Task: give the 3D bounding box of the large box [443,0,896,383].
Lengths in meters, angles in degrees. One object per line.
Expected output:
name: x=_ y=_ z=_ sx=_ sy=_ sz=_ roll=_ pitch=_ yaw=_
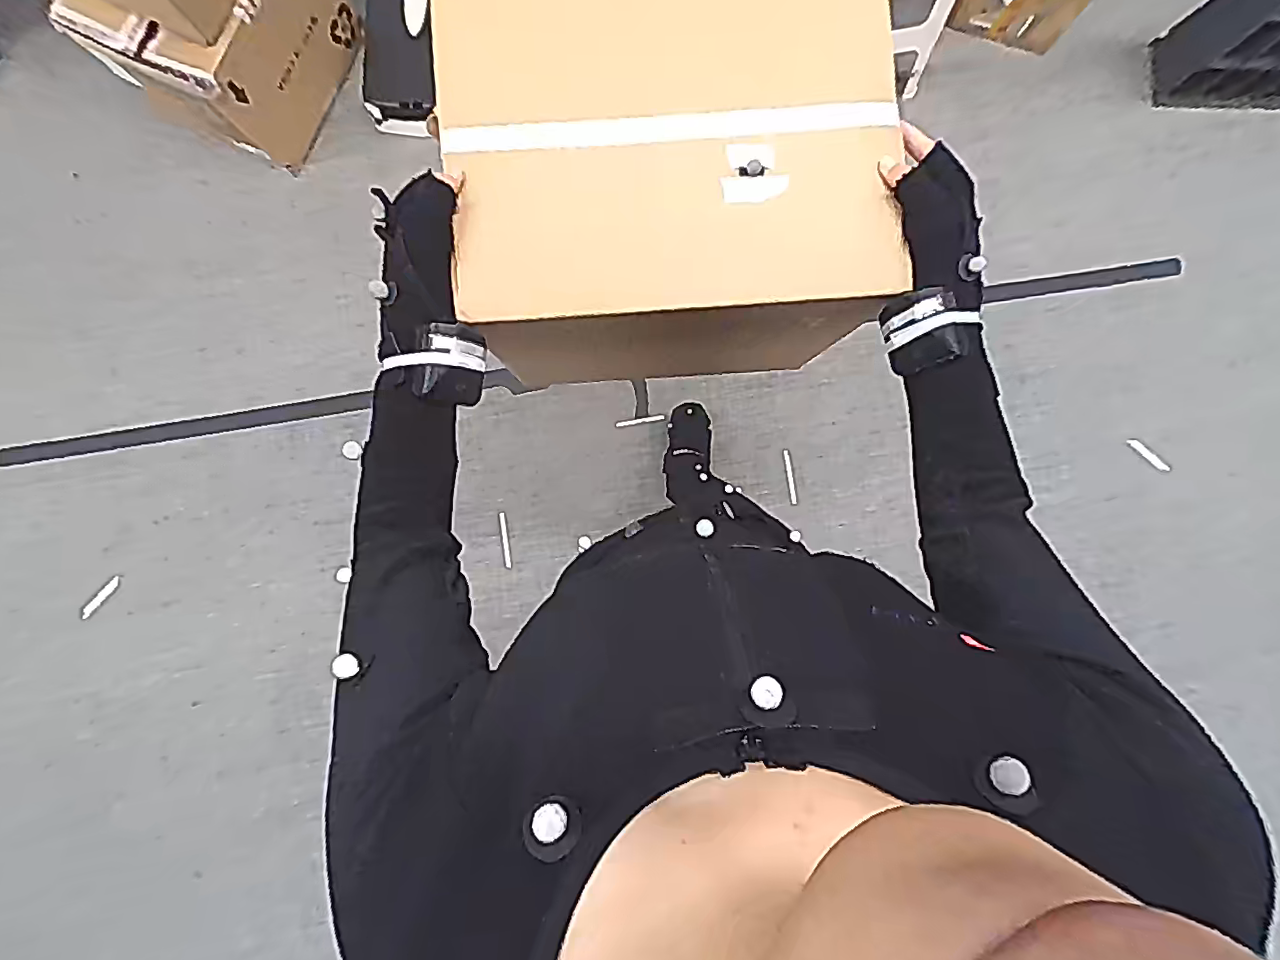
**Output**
large box: x=0.023 y=-0.312 z=0.646 sx=0.408 sy=0.320 sz=0.320 roll=-5 pitch=90 yaw=-2
